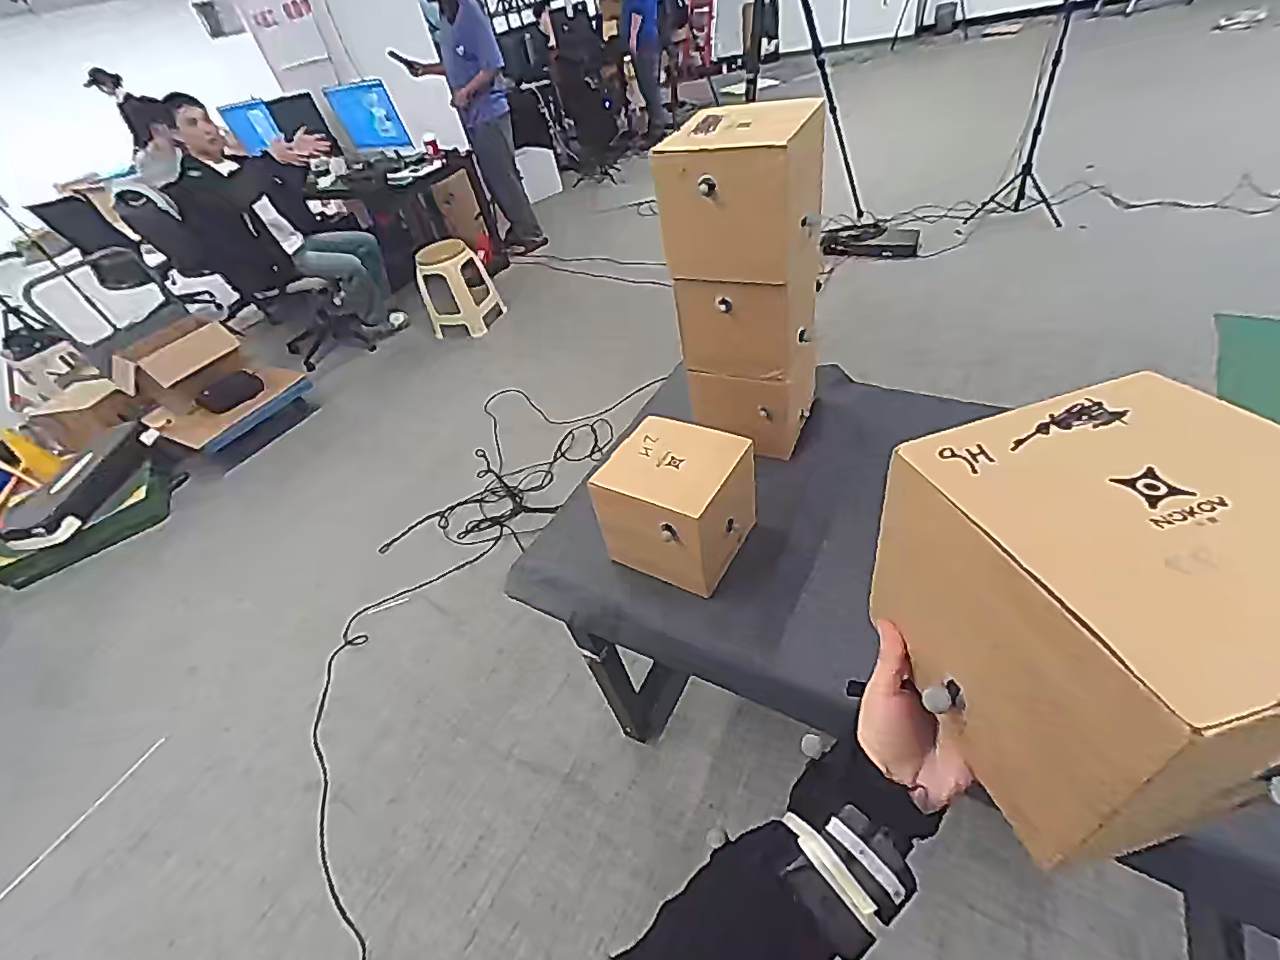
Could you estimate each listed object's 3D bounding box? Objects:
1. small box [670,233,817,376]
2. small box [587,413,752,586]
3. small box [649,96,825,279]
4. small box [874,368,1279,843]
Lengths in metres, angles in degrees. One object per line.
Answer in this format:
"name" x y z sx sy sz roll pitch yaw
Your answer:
"small box" 0.168 -0.282 0.850 0.179 0.176 0.168 13 52 25
"small box" 0.053 0.030 0.793 0.179 0.176 0.168 18 49 29
"small box" 0.136 -0.388 0.729 0.179 0.176 0.168 15 53 26
"small box" 0.254 0.070 0.299 0.168 0.176 0.179 -17 40 -3
